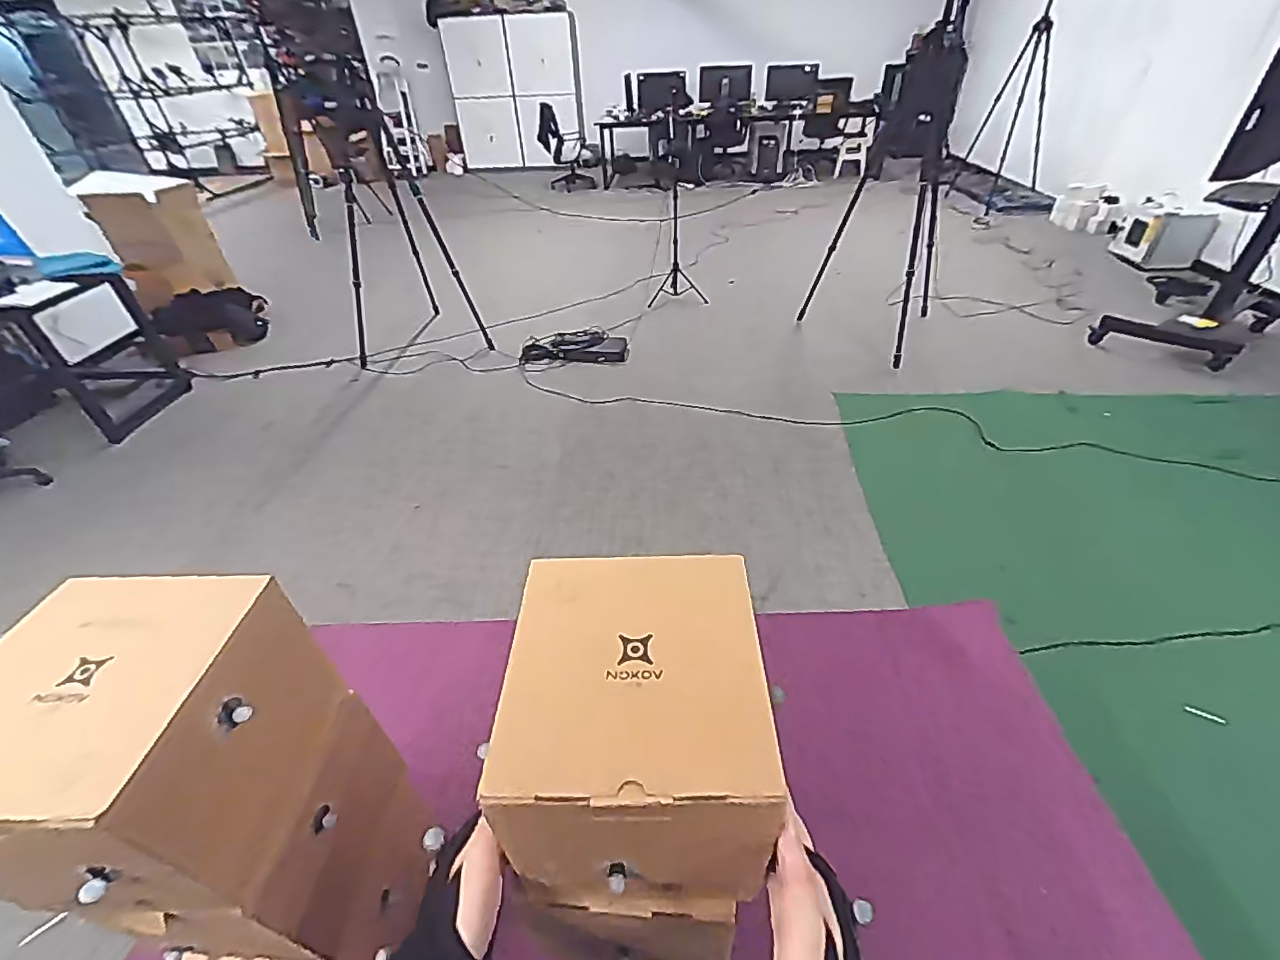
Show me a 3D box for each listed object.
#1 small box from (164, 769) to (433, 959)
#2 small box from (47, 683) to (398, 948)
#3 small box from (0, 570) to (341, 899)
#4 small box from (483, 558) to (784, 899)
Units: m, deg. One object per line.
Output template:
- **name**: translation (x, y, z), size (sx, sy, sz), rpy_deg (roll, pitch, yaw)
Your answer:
- **small box**: translation (-0.356, 0.444, 0.612), size (0.168, 0.176, 0.179), rpy_deg (2, 40, 3)
- **small box**: translation (-0.358, 0.312, 0.513), size (0.168, 0.176, 0.179), rpy_deg (2, 39, 4)
- **small box**: translation (-0.362, 0.189, 0.407), size (0.168, 0.176, 0.179), rpy_deg (1, 39, 2)
- **small box**: translation (-0.001, 0.179, 0.402), size (0.168, 0.176, 0.179), rpy_deg (0, 40, 2)
